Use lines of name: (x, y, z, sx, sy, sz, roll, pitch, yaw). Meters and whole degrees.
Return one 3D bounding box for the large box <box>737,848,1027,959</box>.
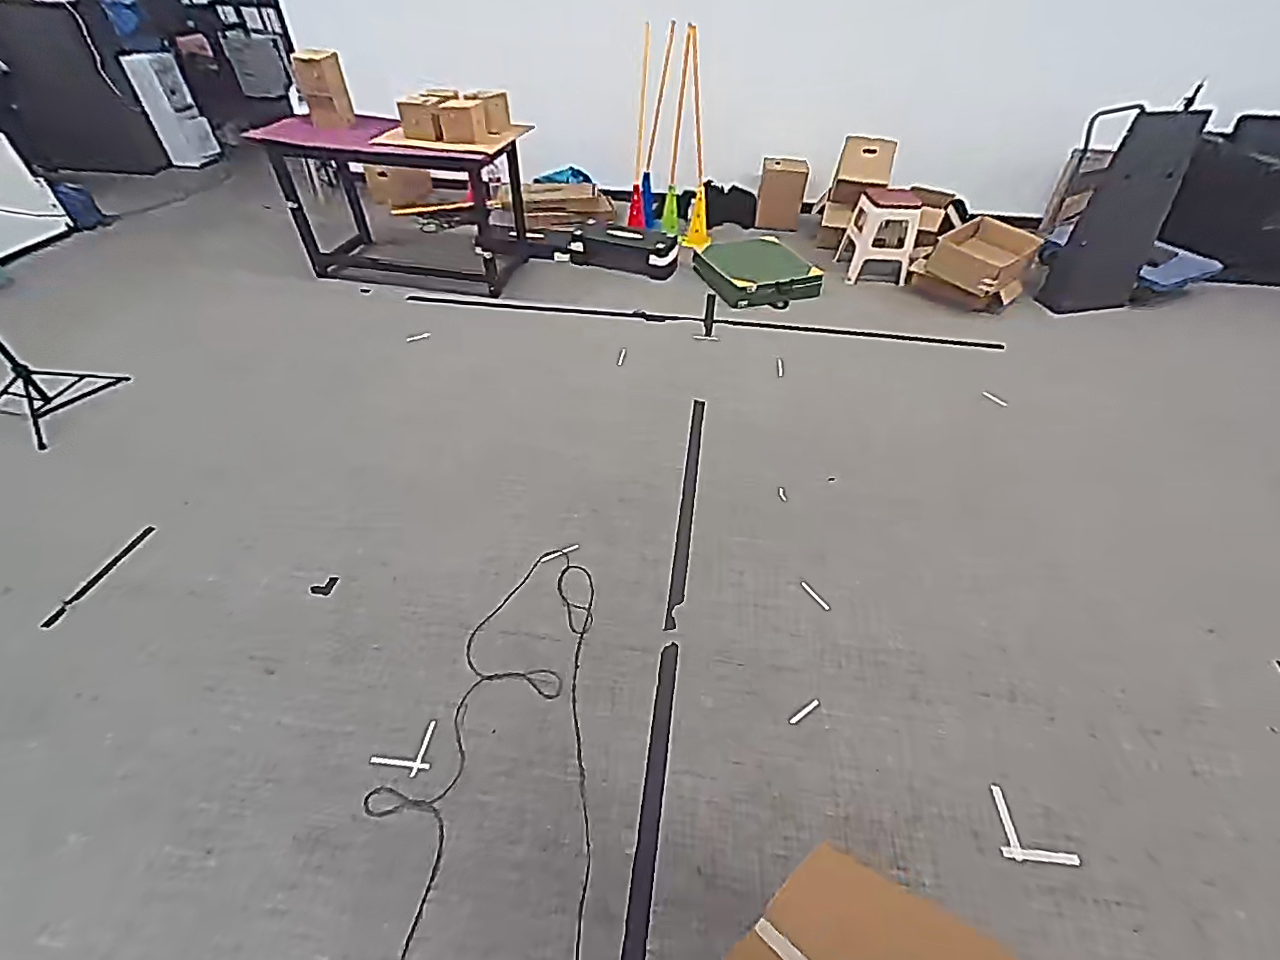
large box: (0.346, 0.756, 0.648, 0.320, 0.408, 0.320, -36, 91, -24)
